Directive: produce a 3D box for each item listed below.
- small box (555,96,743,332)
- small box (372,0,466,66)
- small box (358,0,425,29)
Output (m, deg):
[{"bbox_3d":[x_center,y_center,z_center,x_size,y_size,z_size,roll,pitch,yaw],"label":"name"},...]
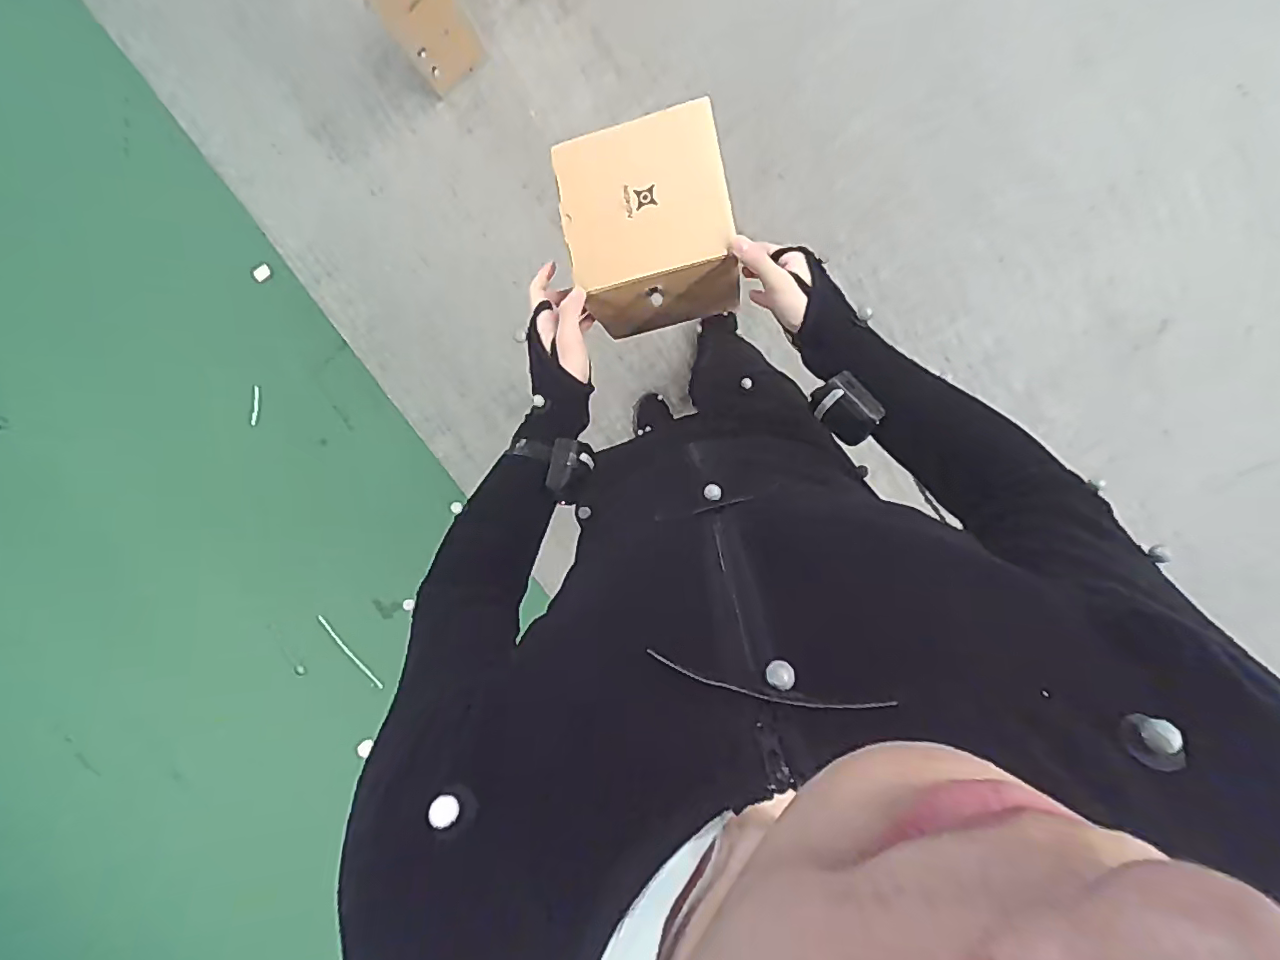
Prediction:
[{"bbox_3d":[0.020,-0.291,0.635,0.179,0.176,0.168,-11,86,11],"label":"small box"},{"bbox_3d":[-0.500,-1.026,1.140,0.168,0.176,0.179,-36,99,6],"label":"small box"},{"bbox_3d":[-0.487,-0.986,0.981,0.179,0.176,0.168,-35,101,6],"label":"small box"}]
